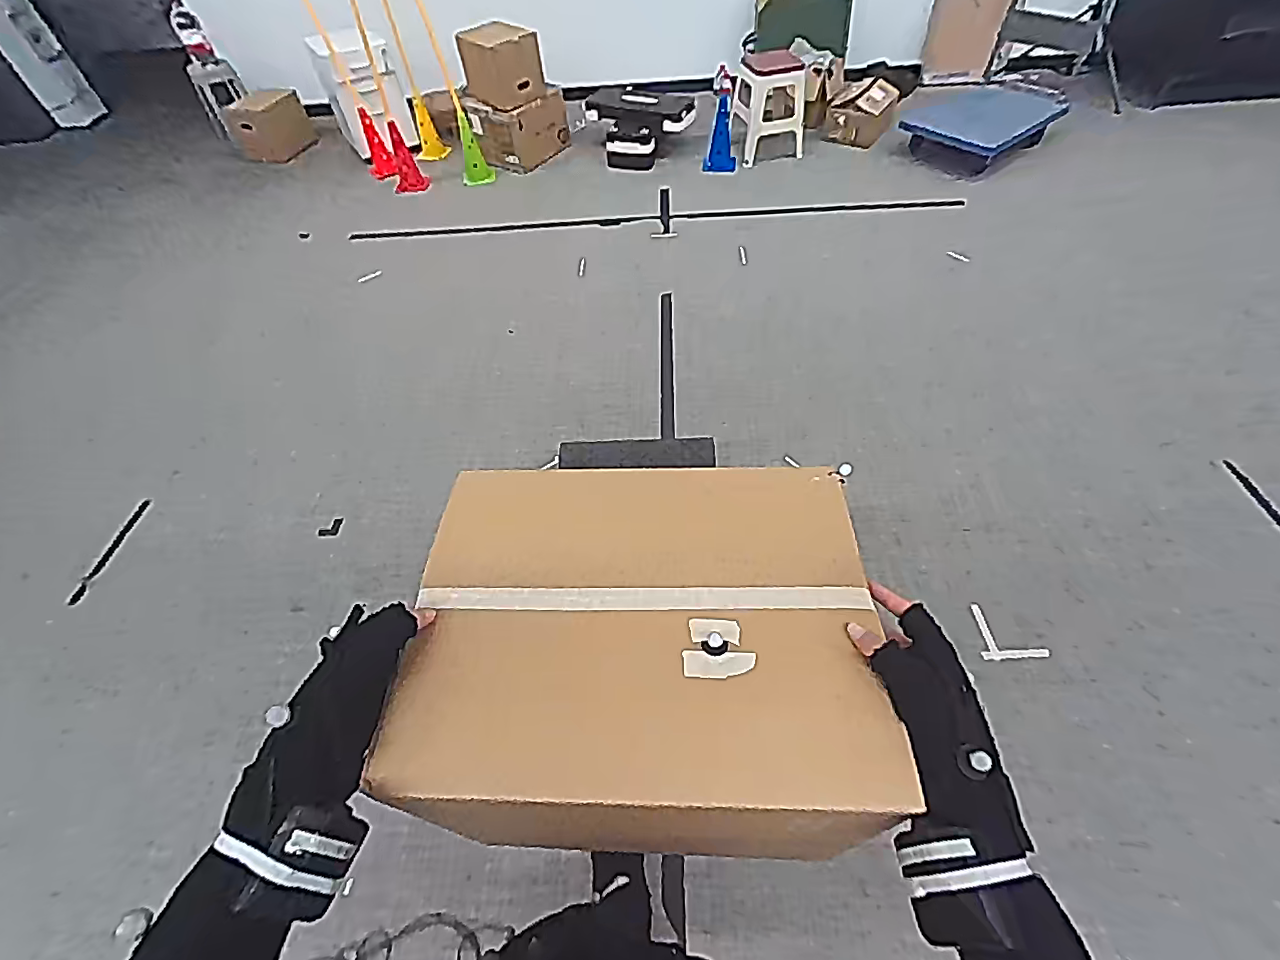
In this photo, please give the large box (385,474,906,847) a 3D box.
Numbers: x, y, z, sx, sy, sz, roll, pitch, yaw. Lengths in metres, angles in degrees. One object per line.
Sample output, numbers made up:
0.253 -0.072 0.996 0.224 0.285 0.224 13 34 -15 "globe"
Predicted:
0.010 0.208 0.613 0.408 0.320 0.320 0 50 4 "large box"
